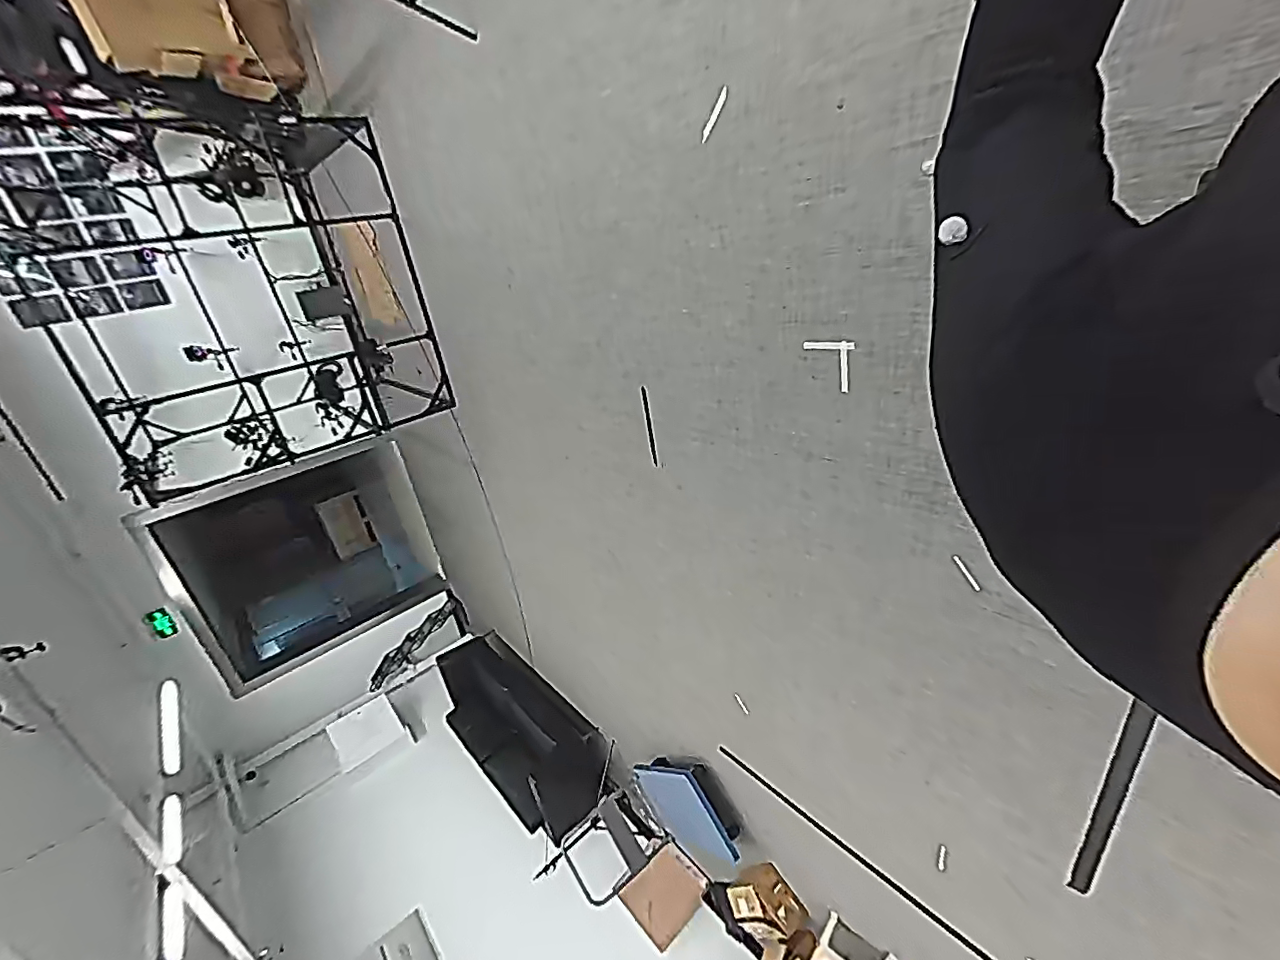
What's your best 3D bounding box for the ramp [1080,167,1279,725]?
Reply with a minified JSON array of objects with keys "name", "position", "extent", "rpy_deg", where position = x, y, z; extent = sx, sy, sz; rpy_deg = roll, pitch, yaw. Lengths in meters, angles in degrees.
[{"name":"ramp","position":[1.183,-0.019,0.947],"extent":[0.509,0.206,0.991],"rpy_deg":[19,126,49]}]
